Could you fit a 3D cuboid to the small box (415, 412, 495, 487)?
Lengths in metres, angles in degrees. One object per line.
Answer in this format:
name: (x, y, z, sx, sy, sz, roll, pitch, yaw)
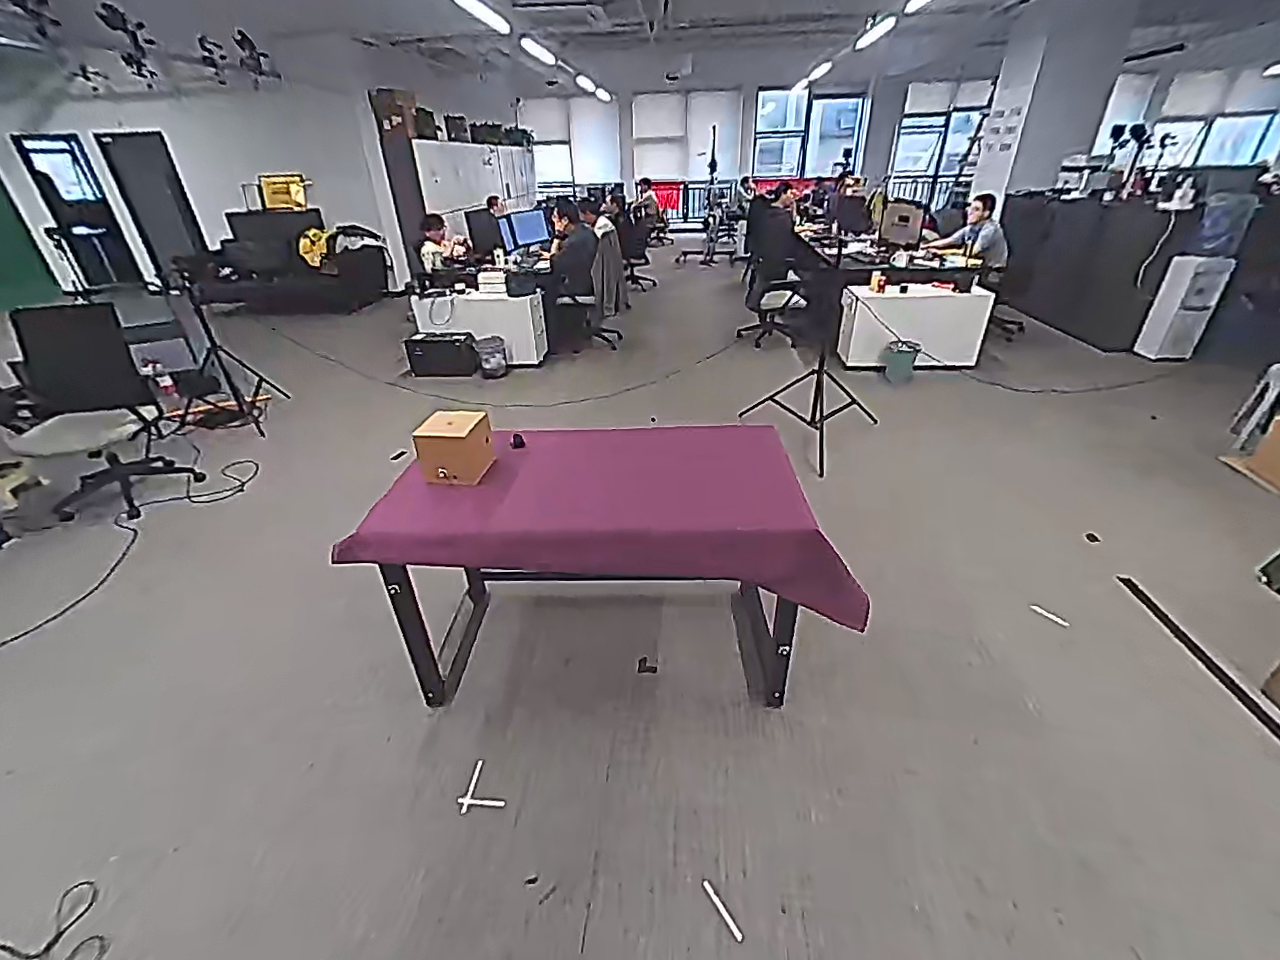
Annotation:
small box: (-0.557, -0.097, 1.656, 0.168, 0.176, 0.179, 1, 32, 7)
